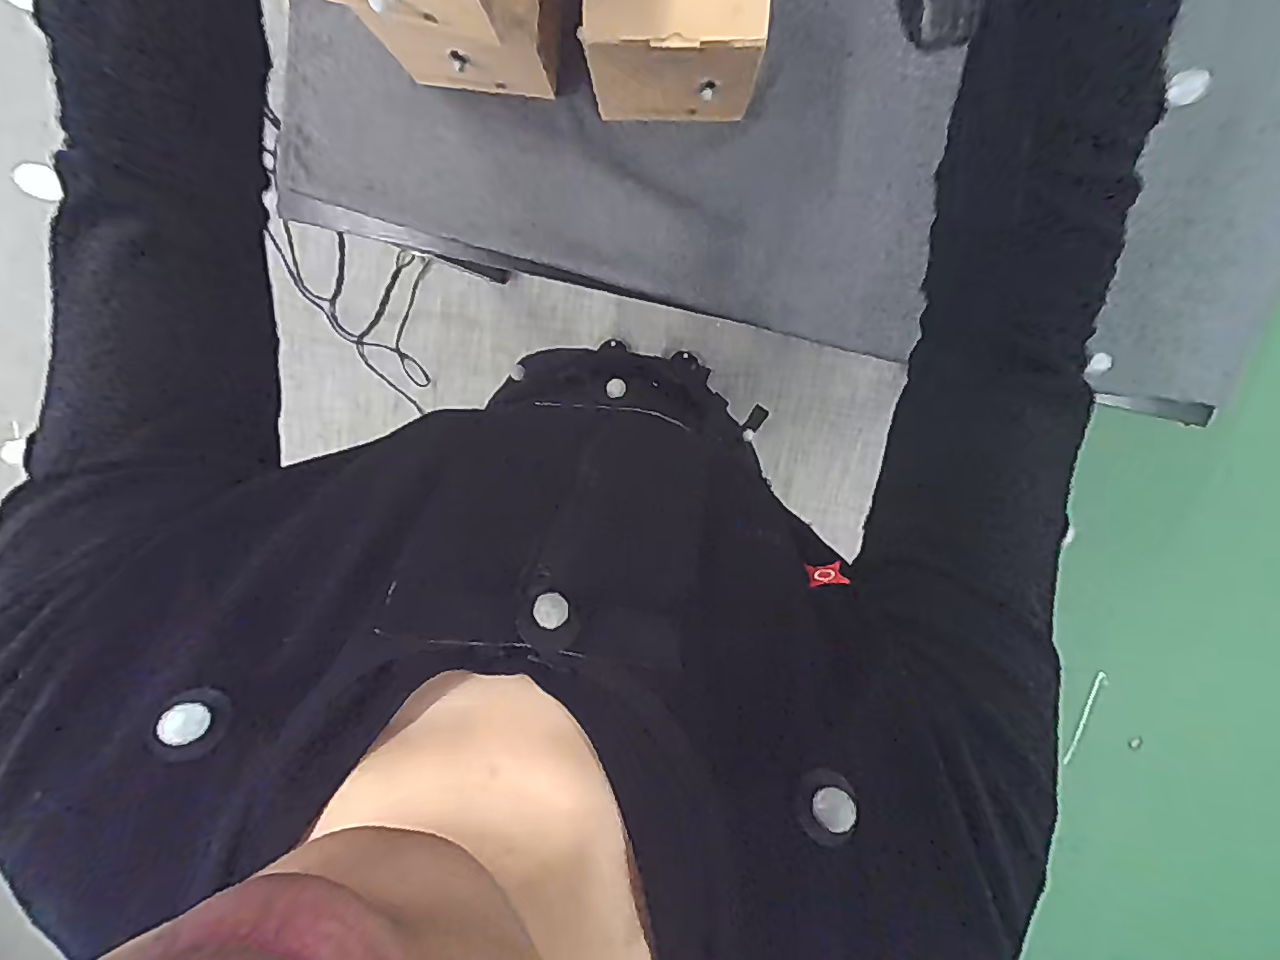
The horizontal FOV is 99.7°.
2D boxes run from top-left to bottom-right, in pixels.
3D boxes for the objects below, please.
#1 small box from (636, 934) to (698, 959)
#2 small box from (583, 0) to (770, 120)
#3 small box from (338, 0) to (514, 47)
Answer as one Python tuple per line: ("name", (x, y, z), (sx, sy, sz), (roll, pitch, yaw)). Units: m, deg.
("small box", (0.065, 1.457, 1.549), (0.179, 0.176, 0.168), (11, 106, 4))
("small box", (0.036, -0.485, 0.536), (0.168, 0.176, 0.179), (1, 103, 1))
("small box", (-0.177, -0.462, 0.378), (0.168, 0.176, 0.179), (14, 104, -2))
